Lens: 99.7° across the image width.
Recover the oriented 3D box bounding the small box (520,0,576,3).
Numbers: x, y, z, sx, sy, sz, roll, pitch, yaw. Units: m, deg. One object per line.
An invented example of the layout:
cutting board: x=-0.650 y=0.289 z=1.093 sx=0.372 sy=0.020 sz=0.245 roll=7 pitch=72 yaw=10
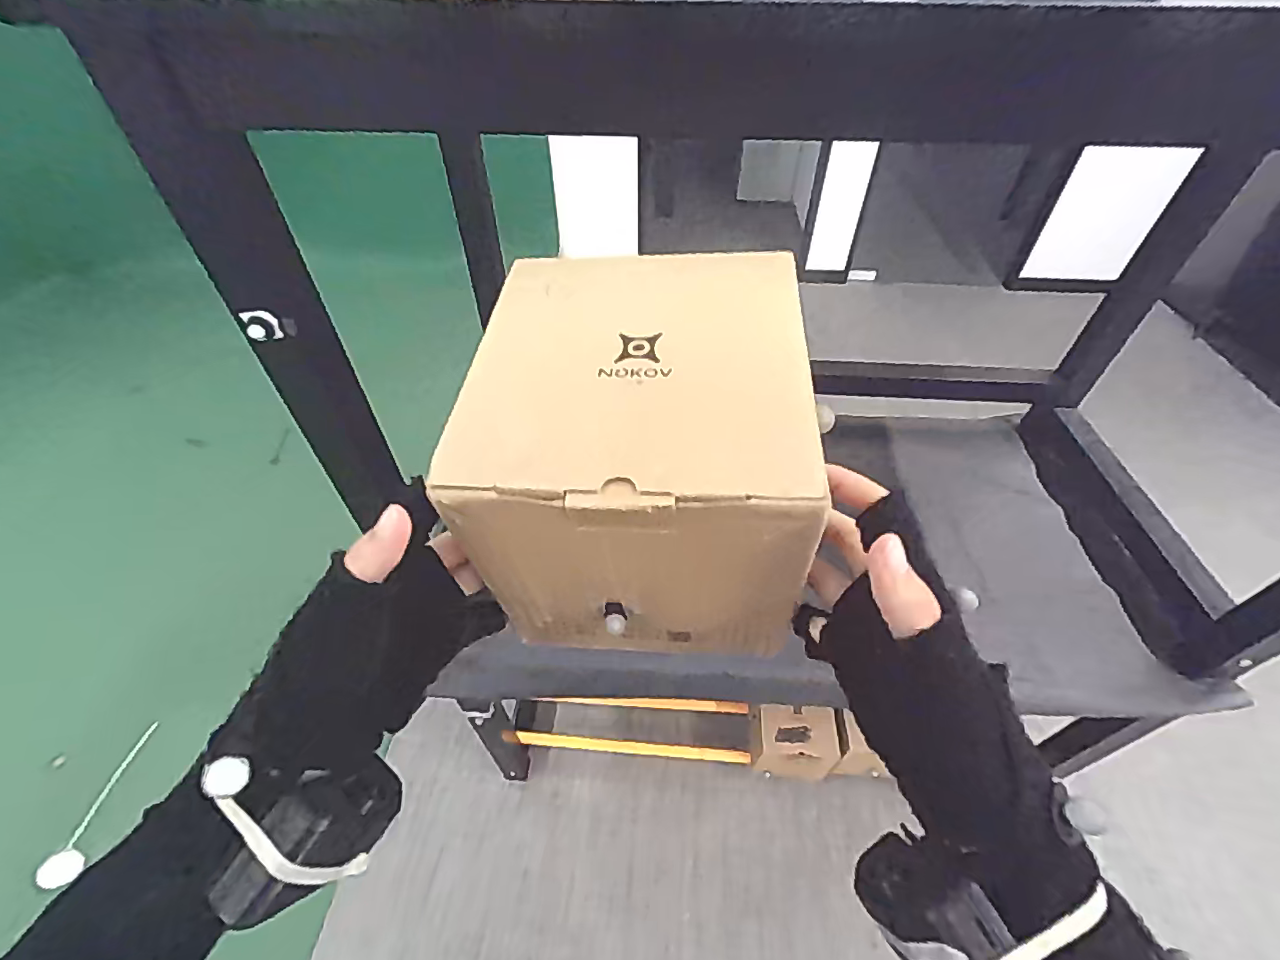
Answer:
small box: x=-0.110 y=-0.475 z=0.400 sx=0.168 sy=0.176 sz=0.179 roll=0 pitch=46 yaw=1

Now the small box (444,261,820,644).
small box: x=0.006 y=-0.015 z=0.342 sx=0.168 sy=0.176 sz=0.179 roll=1 pitch=53 yaw=6
